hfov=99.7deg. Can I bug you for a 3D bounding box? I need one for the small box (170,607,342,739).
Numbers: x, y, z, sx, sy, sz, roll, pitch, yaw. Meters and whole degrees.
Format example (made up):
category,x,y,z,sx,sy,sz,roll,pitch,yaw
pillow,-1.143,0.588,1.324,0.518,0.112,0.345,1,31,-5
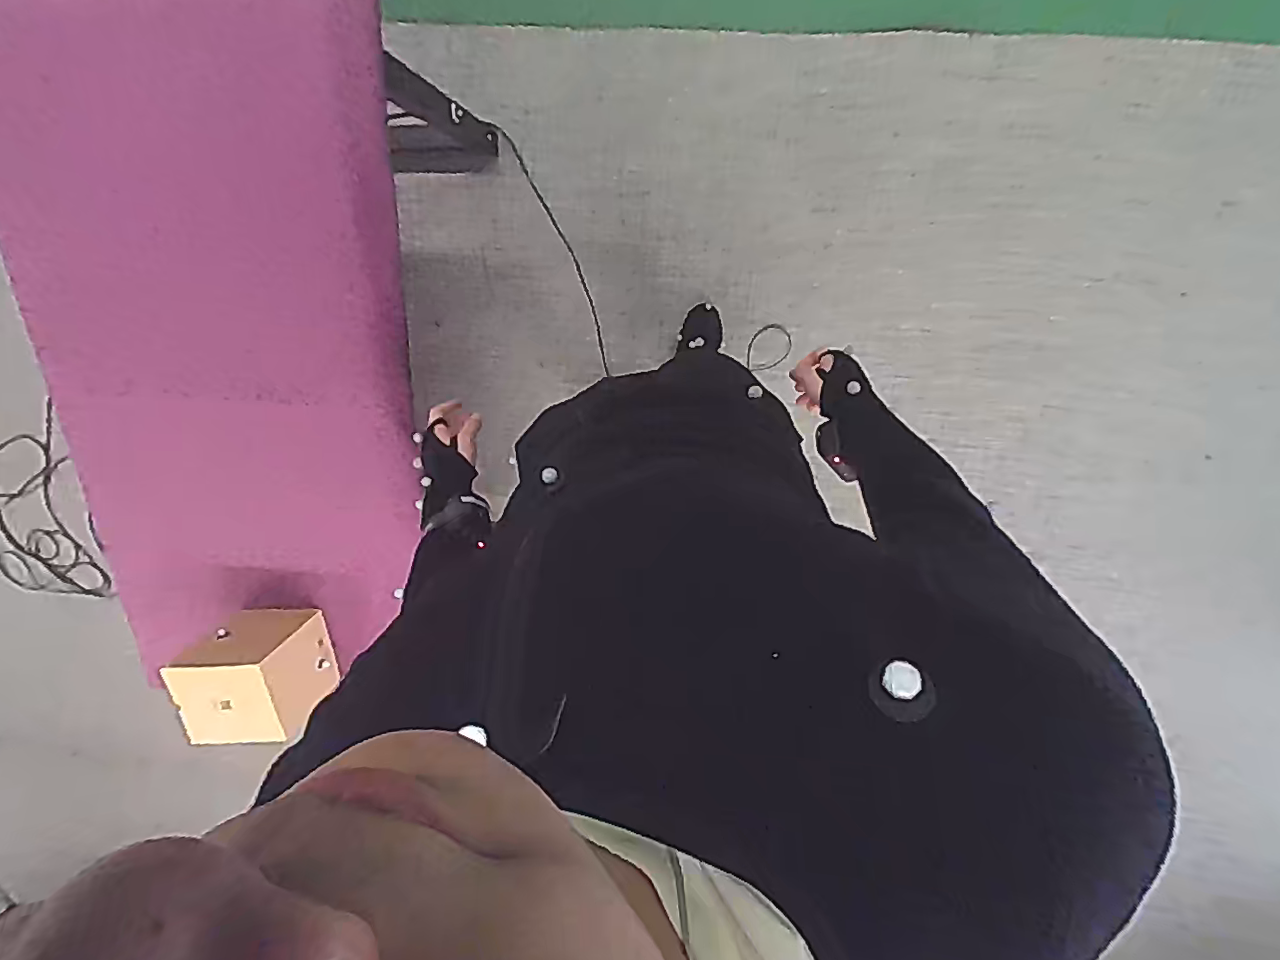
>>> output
category,x,y,z,sx,sy,sz,roll,pitch,yaw
small box,-0.704,0.353,1.012,0.179,0.176,0.168,-2,110,7
